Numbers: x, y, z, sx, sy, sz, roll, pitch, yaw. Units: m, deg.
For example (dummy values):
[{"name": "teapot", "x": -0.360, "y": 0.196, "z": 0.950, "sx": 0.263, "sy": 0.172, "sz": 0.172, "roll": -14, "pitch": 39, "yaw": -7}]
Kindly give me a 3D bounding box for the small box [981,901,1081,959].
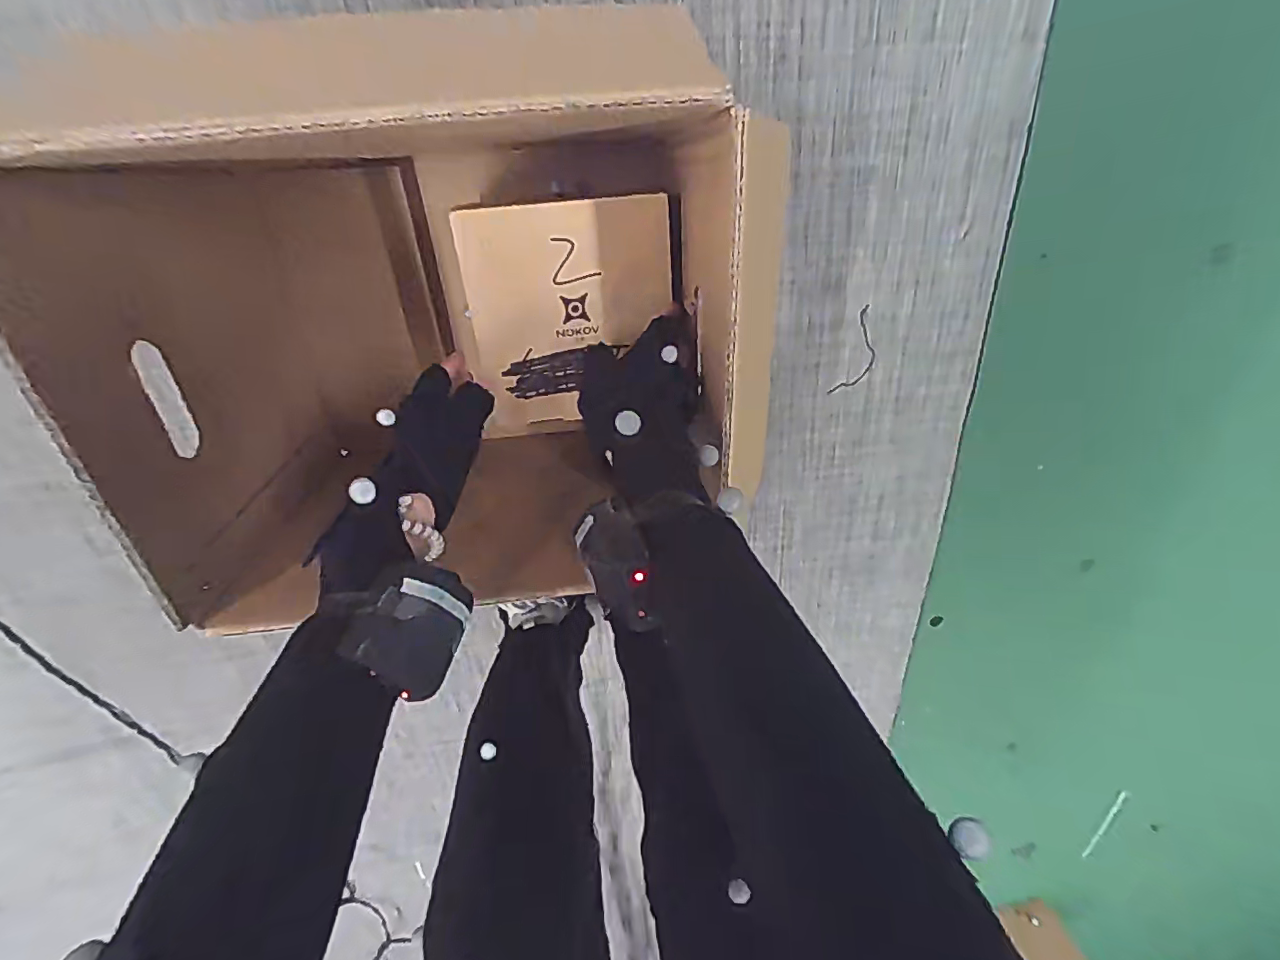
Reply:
[{"name": "small box", "x": 1.116, "y": 1.345, "z": 1.544, "sx": 0.168, "sy": 0.176, "sz": 0.179, "roll": -6, "pitch": 120, "yaw": -4}]
